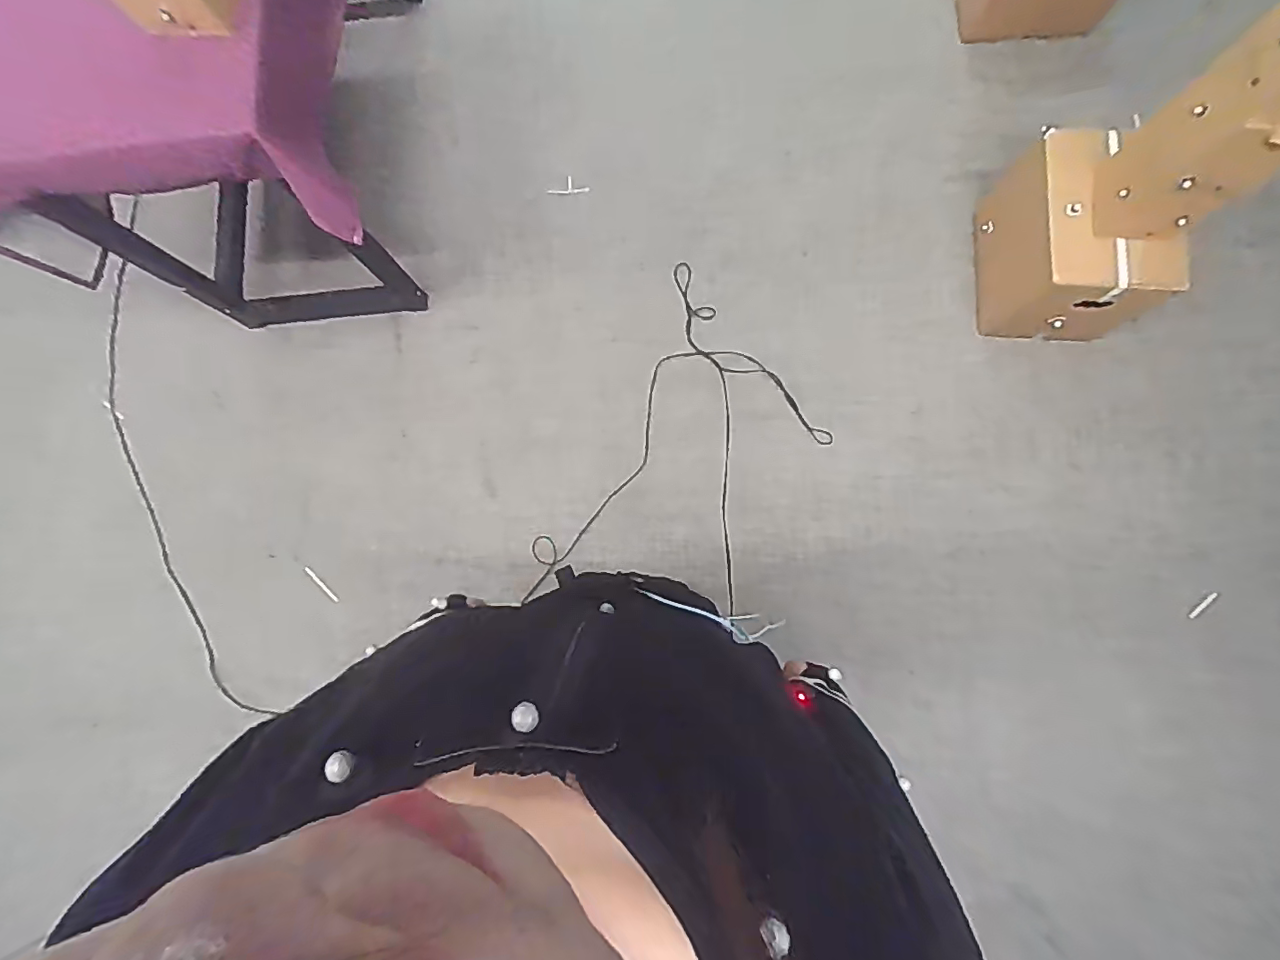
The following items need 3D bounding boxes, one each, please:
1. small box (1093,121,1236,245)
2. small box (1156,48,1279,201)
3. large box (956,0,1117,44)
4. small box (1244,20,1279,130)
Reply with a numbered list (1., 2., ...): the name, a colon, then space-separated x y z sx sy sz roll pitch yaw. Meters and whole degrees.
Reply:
1. small box: 1.157 -0.652 1.204 0.168 0.176 0.179 8 82 1
2. small box: 1.151 -0.673 1.041 0.168 0.176 0.179 9 81 1
3. large box: 1.206 -1.557 1.583 0.408 0.320 0.320 -2 81 1
4. small box: 1.153 -0.699 0.879 0.179 0.176 0.168 8 83 2
